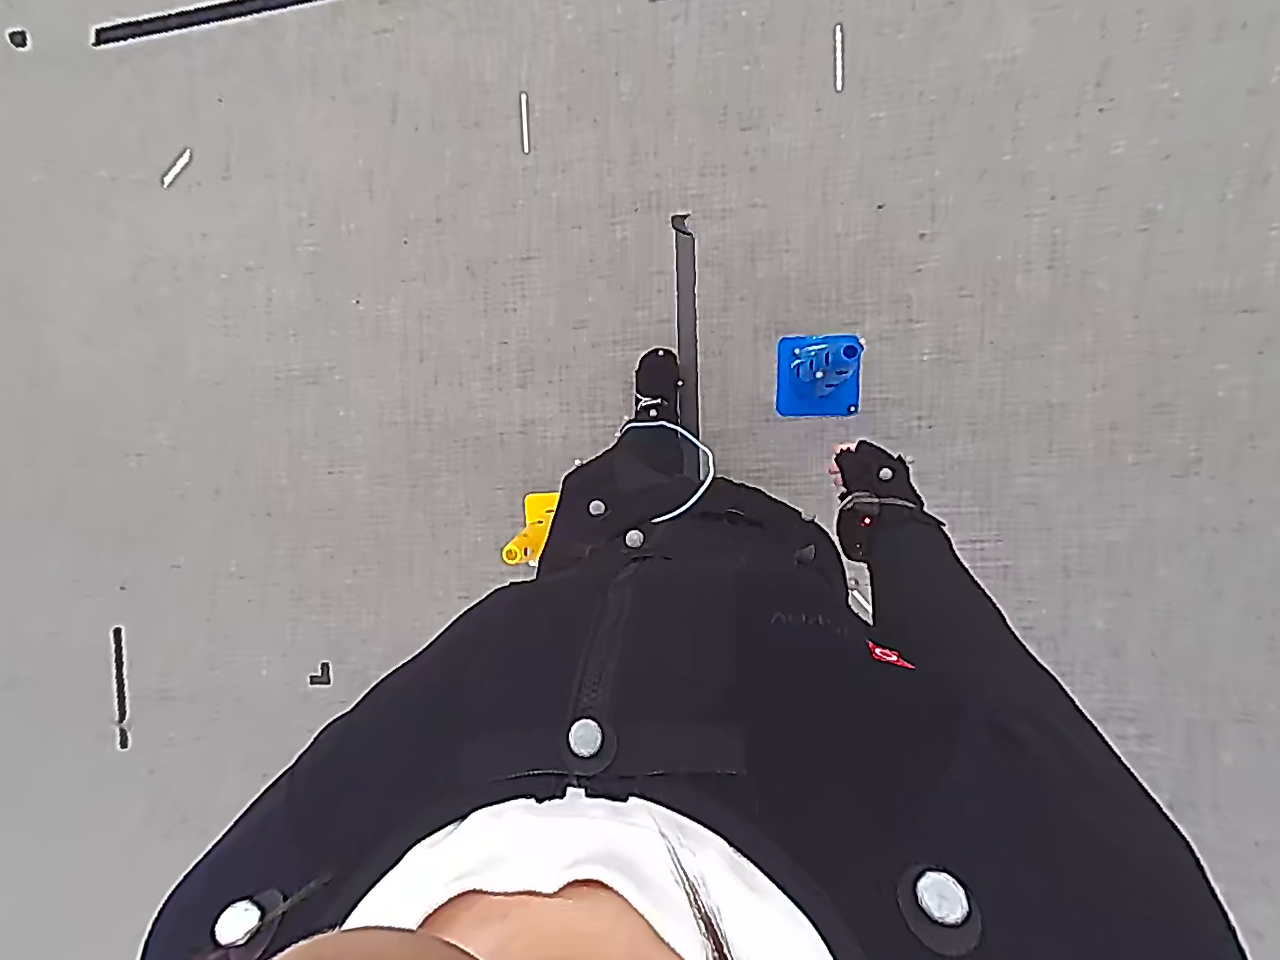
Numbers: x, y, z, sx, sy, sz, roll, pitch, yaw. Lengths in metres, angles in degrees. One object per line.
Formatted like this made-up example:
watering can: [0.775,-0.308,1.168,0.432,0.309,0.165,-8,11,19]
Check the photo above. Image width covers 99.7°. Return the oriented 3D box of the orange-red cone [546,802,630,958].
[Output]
orange-red cone: [-0.159,1.008,1.334,0.199,0.360,0.198,3,92,10]

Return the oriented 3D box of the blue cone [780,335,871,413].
blue cone: [0.426,-0.255,1.189,0.192,0.380,0.193,2,94,8]
